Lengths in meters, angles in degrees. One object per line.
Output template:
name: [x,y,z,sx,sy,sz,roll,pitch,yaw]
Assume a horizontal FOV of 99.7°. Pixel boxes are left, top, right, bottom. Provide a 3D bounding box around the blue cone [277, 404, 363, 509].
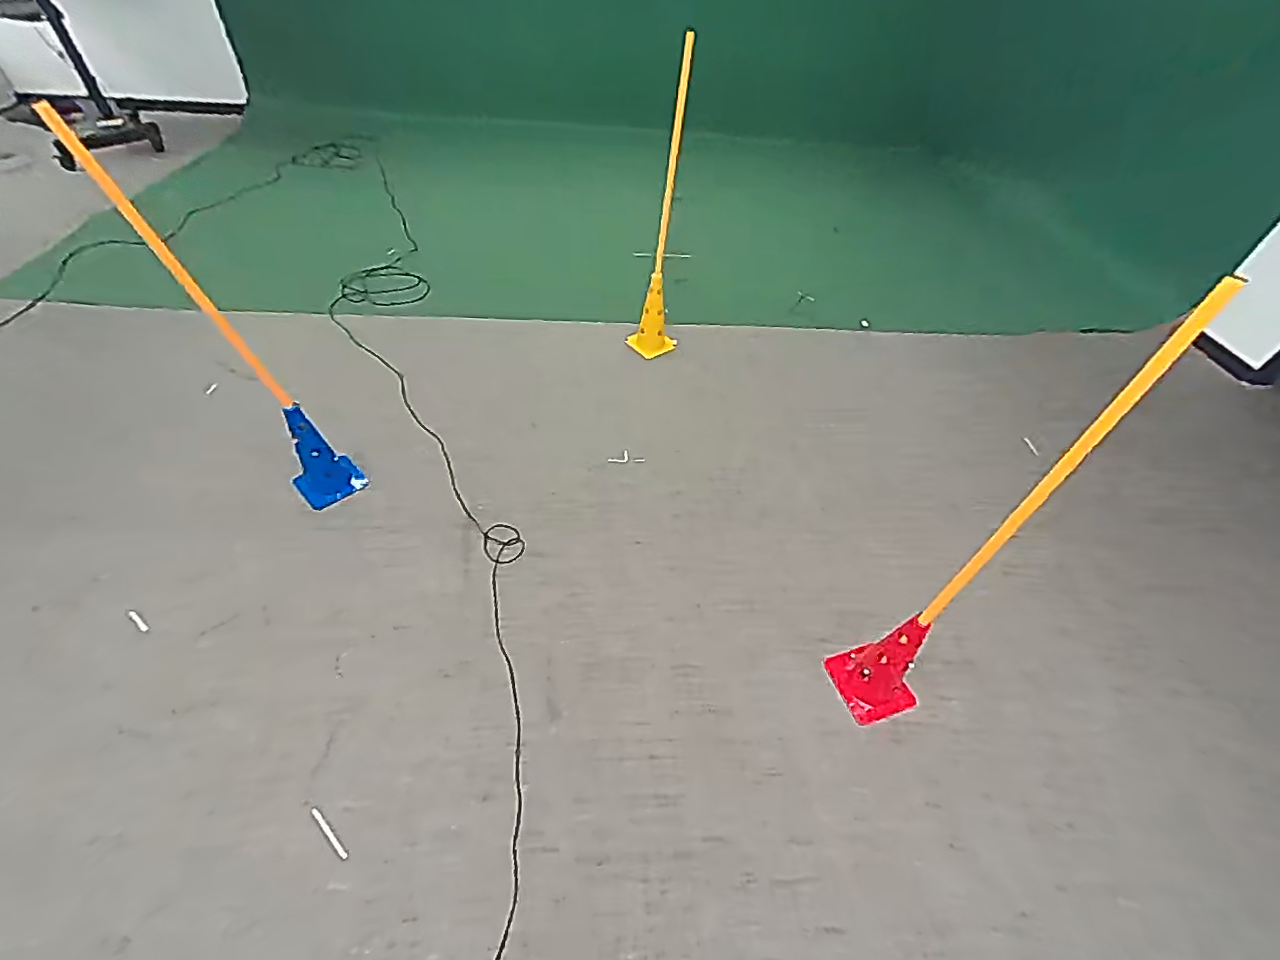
blue cone: [-1.093,-0.096,1.788,0.192,0.380,0.193,36,57,25]
